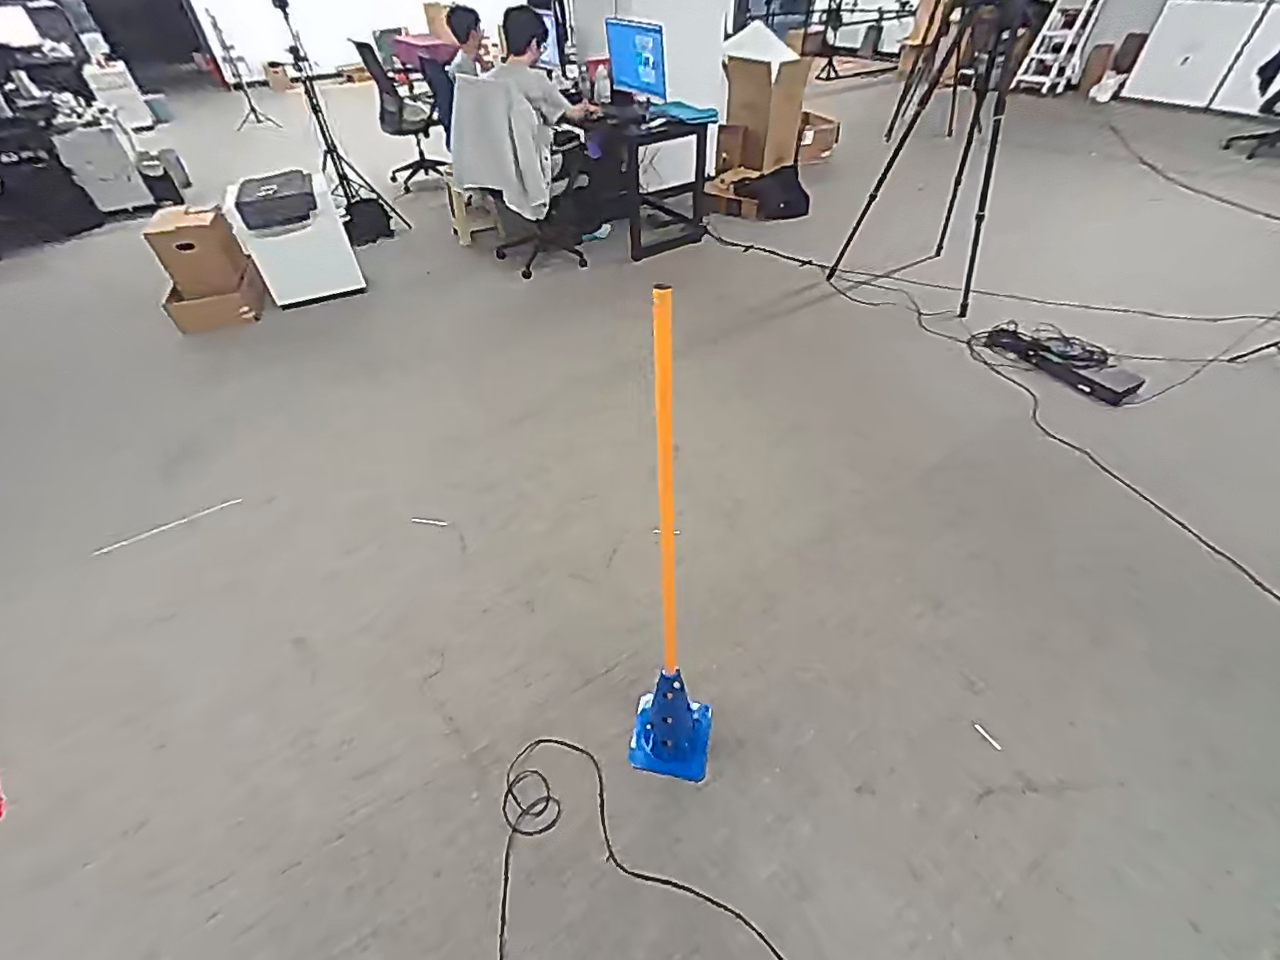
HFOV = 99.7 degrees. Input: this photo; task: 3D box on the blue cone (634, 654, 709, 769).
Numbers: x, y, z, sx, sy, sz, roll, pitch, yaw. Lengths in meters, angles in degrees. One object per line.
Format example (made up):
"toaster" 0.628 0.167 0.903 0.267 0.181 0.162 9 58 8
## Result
"blue cone" 0.080 0.539 1.327 0.192 0.380 0.193 6 43 10
